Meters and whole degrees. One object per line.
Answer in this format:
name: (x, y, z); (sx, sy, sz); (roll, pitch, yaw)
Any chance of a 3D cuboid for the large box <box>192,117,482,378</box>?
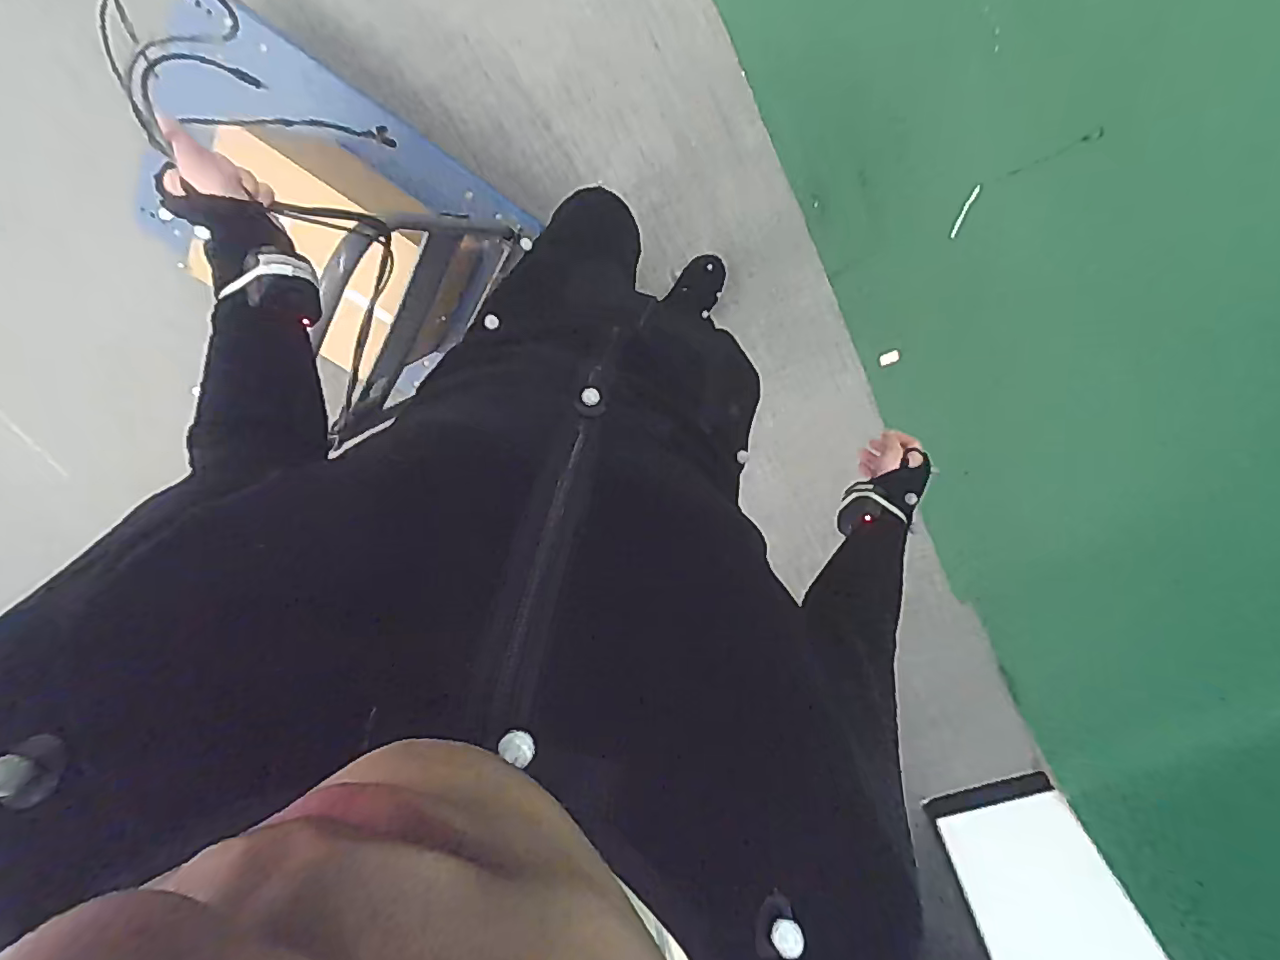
large box: (-0.626, -0.487, 1.170); (0.408, 0.320, 0.320); (34, 114, -9)
